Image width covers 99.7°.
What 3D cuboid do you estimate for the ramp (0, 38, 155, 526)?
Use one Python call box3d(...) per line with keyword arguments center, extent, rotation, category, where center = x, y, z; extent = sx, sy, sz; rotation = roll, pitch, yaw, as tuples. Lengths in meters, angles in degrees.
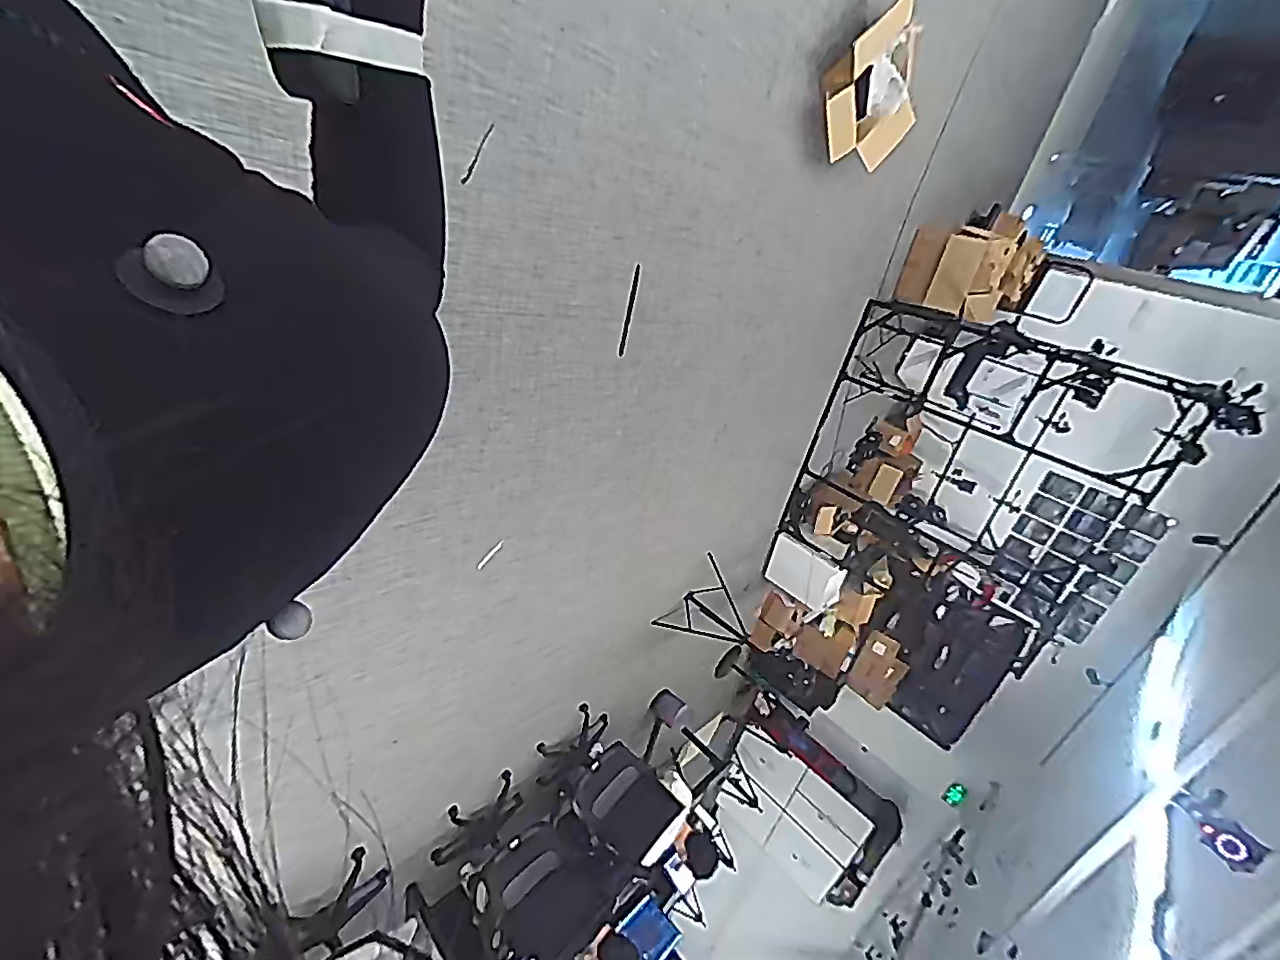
box3d(center=(-1.283, -0.288, 1.013), extent=(0.509, 0.206, 0.991), rotation=(-18, 131, -46), category="ramp")
